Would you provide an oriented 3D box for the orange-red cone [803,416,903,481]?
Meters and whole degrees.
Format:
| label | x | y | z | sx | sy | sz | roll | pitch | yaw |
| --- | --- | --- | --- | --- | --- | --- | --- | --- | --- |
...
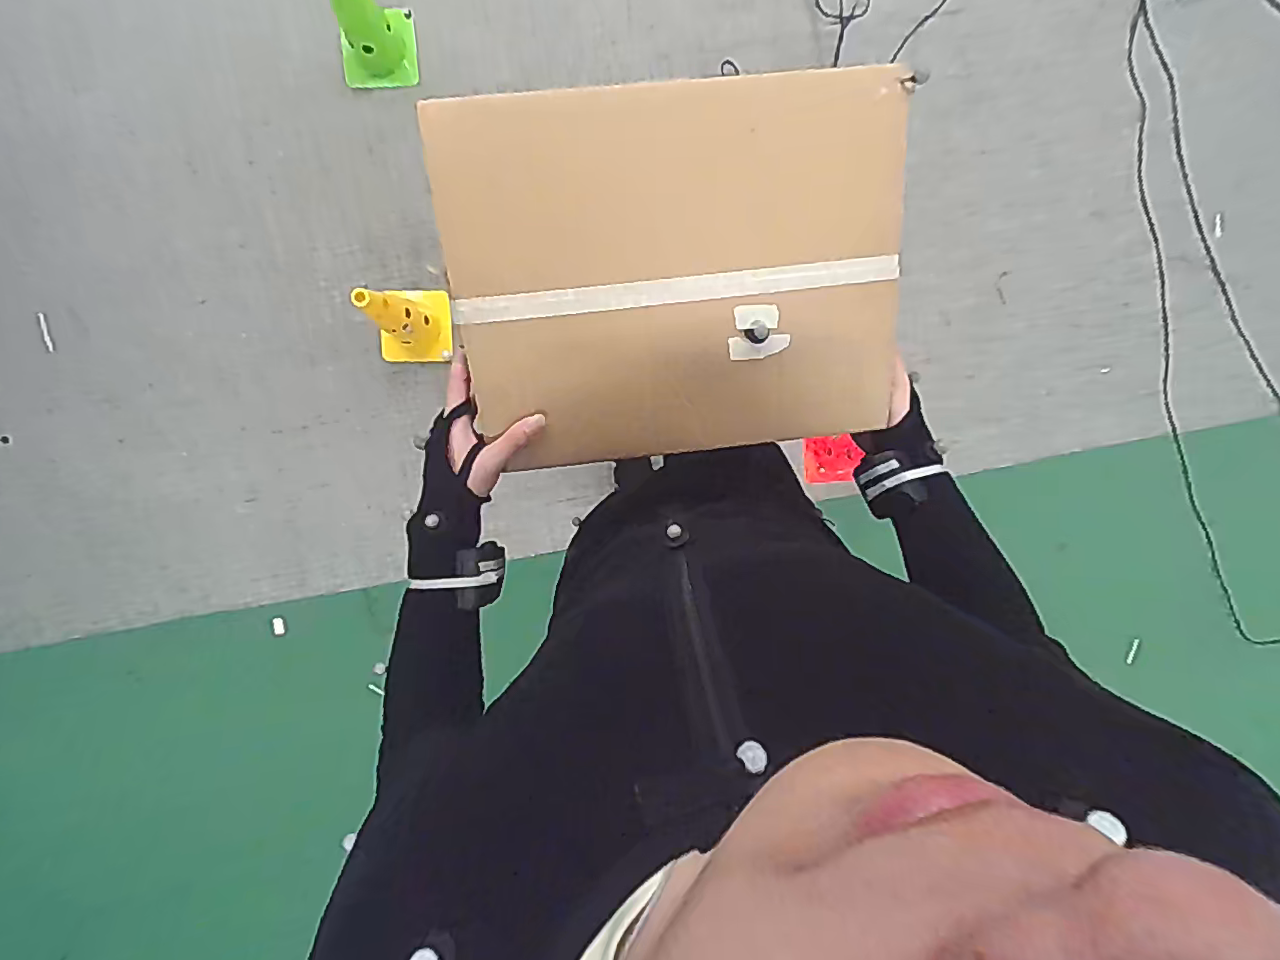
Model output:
| label | x | y | z | sx | sy | sz | roll | pitch | yaw |
| --- | --- | --- | --- | --- | --- | --- | --- | --- | --- |
| orange-red cone | 0.608 | -0.078 | 1.477 | 0.199 | 0.360 | 0.198 | -3 | 96 | -4 |

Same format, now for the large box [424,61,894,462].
| label | x | y | z | sx | sy | sz | roll | pitch | yaw |
| --- | --- | --- | --- | --- | --- | --- | --- | --- | --- |
| large box | 0.019 | -0.235 | 0.636 | 0.408 | 0.320 | 0.320 | -7 | 111 | -4 |

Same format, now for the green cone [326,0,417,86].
| label | x | y | z | sx | sy | sz | roll | pitch | yaw |
| --- | --- | --- | --- | --- | --- | --- | --- | --- | --- |
| green cone | -0.714 | -1.170 | 1.309 | 0.200 | 0.368 | 0.202 | -4 | 97 | -2 |
